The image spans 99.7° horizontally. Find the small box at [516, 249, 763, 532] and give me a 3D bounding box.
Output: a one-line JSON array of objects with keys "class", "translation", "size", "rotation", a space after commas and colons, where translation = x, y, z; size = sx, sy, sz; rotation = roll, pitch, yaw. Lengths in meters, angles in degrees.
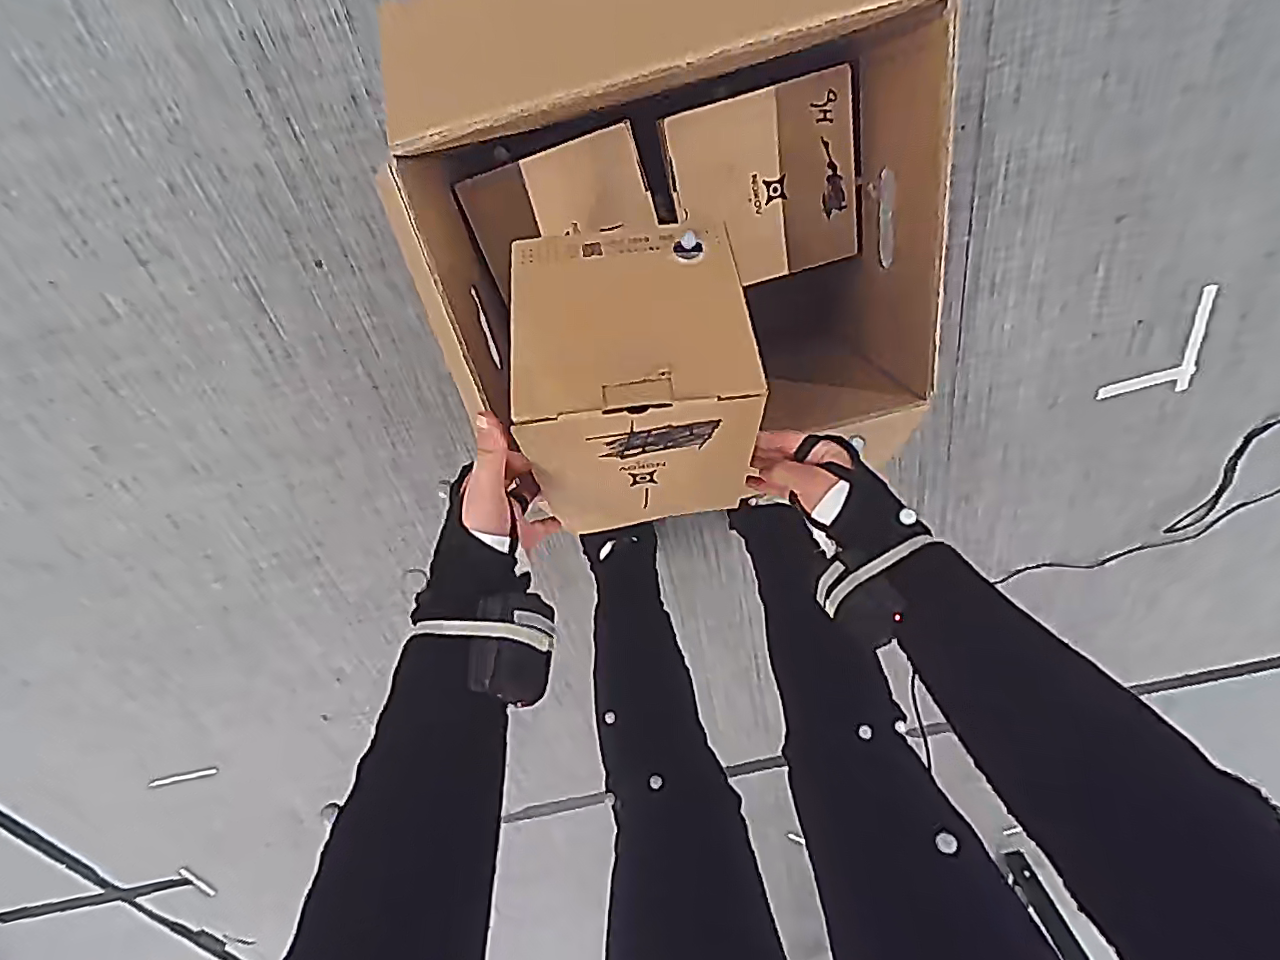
[{"class": "small box", "translation": [-0.007, -0.073, 0.456], "size": [0.168, 0.176, 0.179], "rotation": [-6, 153, -1]}]
